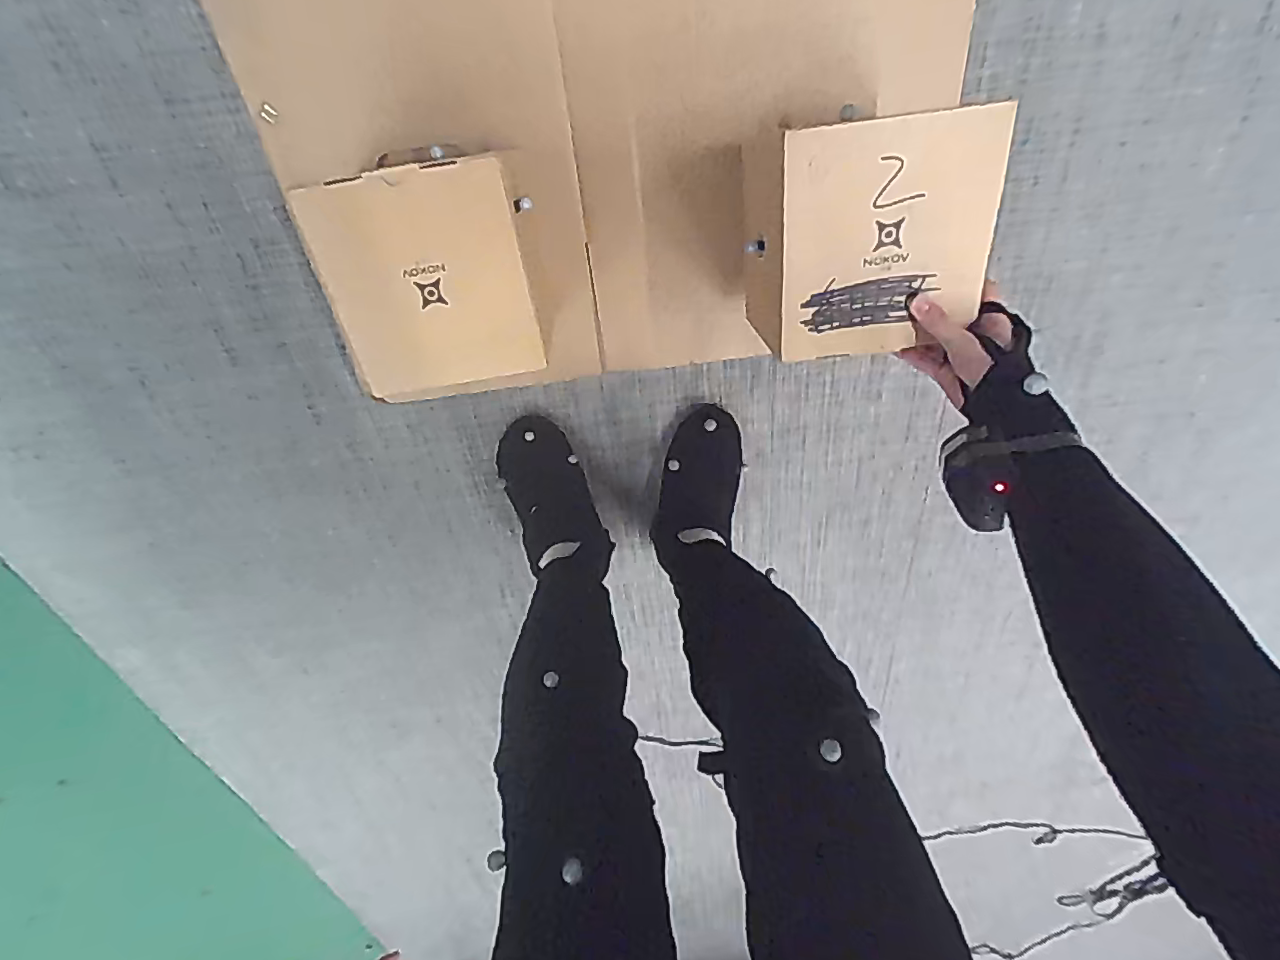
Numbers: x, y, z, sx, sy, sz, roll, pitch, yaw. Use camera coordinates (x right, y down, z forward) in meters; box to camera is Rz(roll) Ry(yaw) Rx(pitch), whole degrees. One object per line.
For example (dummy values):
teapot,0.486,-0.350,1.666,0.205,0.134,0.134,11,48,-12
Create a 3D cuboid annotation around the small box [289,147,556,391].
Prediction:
small box,-0.179,-0.207,0.517,0.168,0.176,0.179,-10,122,0
